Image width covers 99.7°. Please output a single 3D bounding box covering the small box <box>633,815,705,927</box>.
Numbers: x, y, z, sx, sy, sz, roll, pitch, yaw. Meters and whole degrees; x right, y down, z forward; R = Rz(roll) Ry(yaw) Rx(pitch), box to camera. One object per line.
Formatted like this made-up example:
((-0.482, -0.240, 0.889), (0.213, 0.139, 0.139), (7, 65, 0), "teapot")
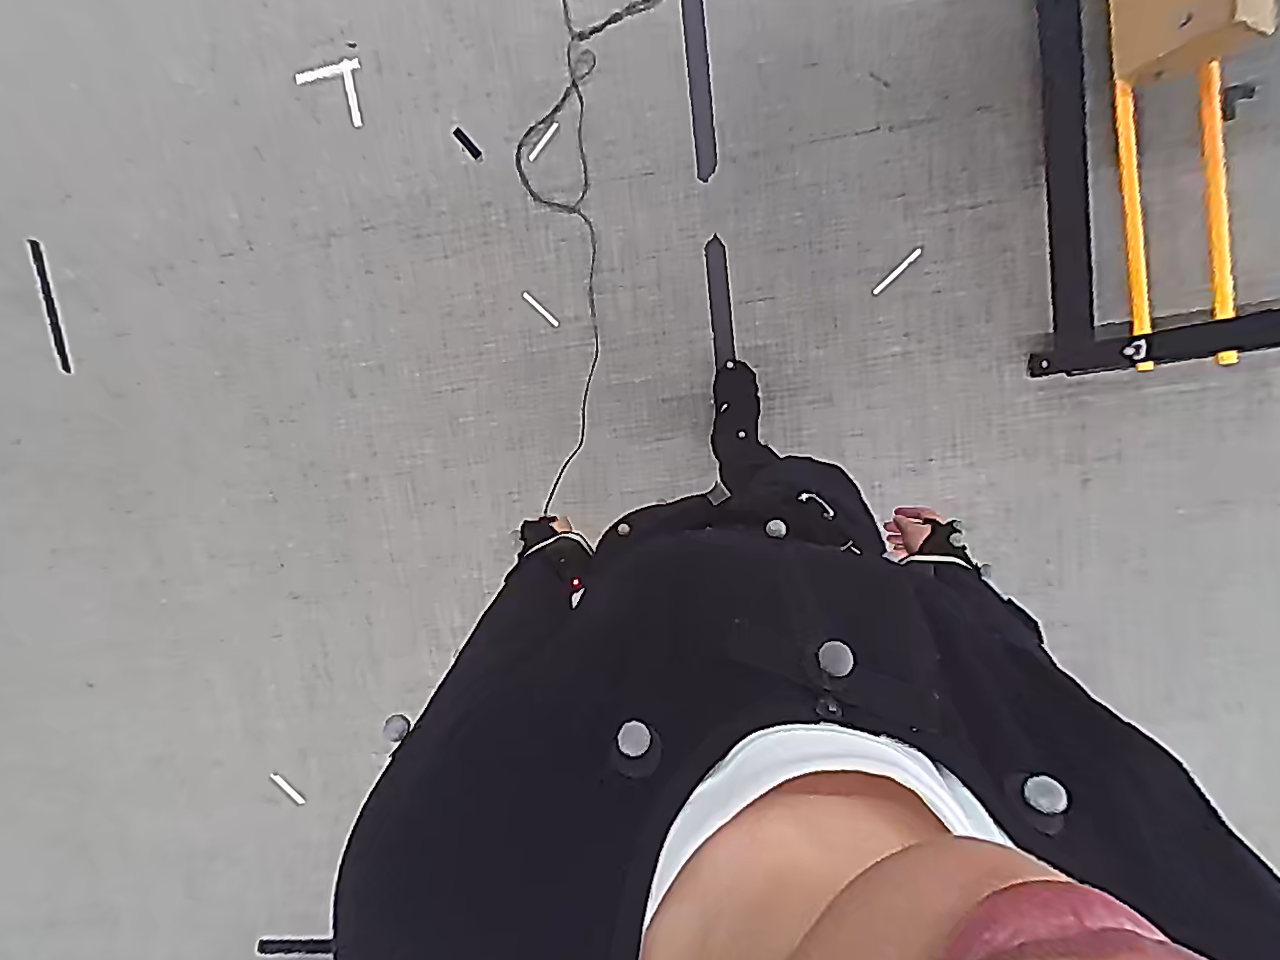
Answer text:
((0.081, 1.013, 1.411), (0.168, 0.176, 0.179), (-6, 95, 7), "small box")
